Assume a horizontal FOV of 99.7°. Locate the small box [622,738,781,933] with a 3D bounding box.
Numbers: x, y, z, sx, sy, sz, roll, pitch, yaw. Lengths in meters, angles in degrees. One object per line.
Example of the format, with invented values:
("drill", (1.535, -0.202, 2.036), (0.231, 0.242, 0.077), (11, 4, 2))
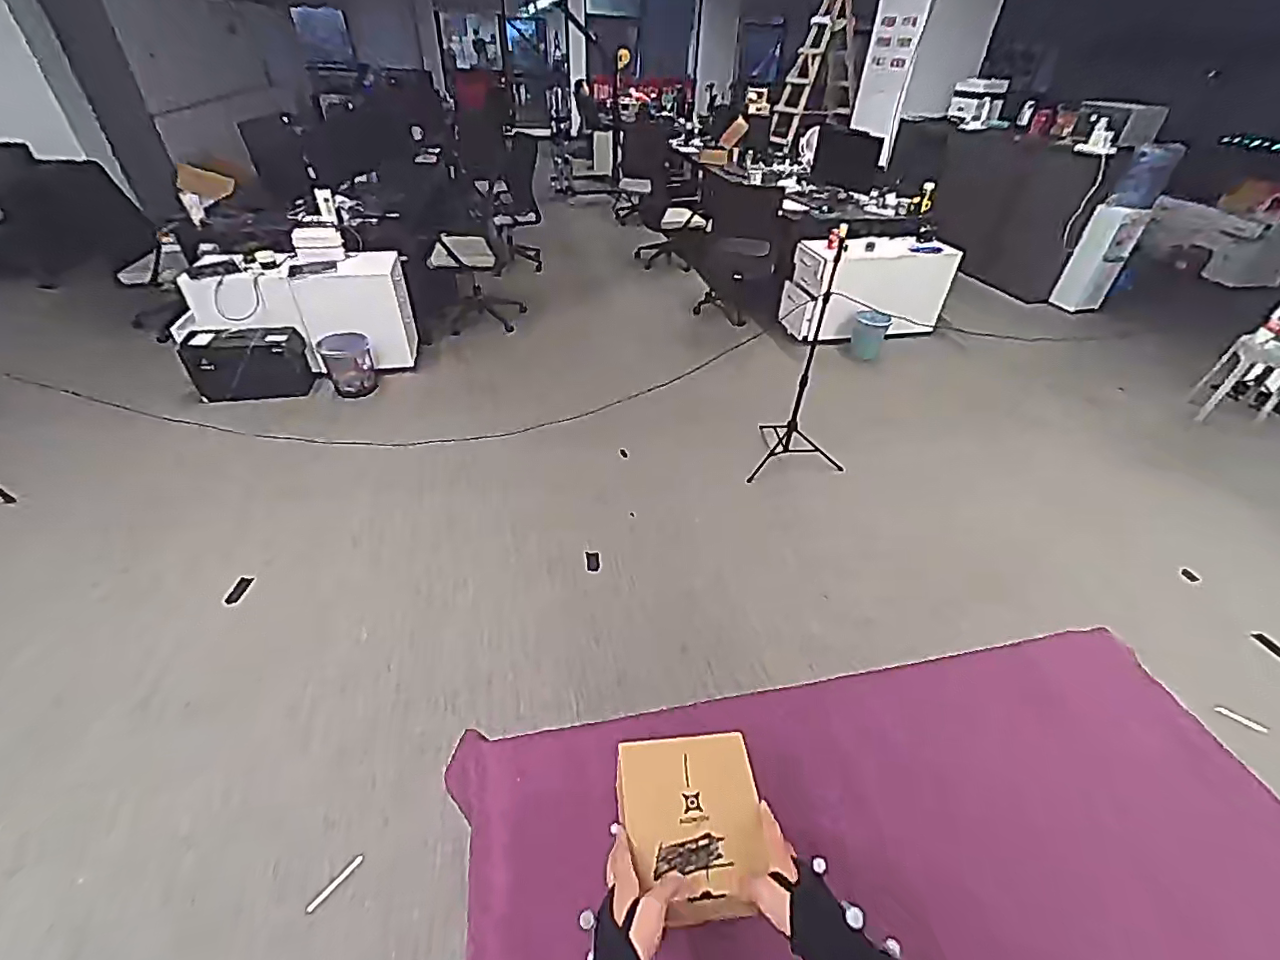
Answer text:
("small box", (0.064, 0.460, 0.697), (0.168, 0.176, 0.179), (-2, 43, -6))
